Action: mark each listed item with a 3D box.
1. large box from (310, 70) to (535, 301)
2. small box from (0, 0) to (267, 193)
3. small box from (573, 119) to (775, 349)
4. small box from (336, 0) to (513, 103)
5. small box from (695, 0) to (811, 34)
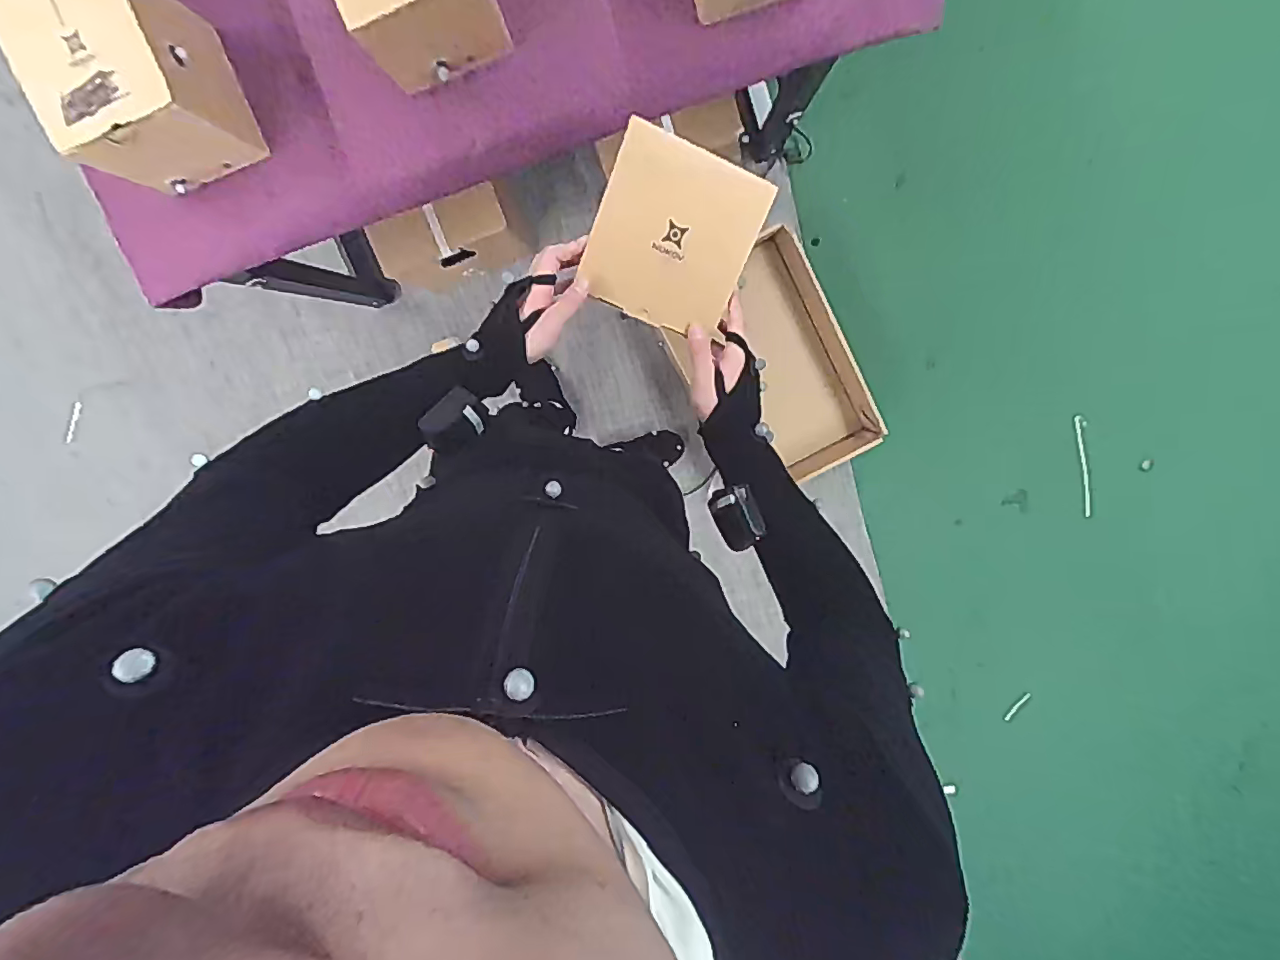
[{"bbox_3d":[-0.502,-0.708,1.339,0.320,0.320,0.408,-20,100,4],"label":"large box"},{"bbox_3d":[-0.643,-0.502,0.707,0.168,0.176,0.179,-19,100,4],"label":"small box"},{"bbox_3d":[0.027,-0.276,0.636,0.168,0.176,0.179,20,108,-11],"label":"small box"},{"bbox_3d":[-0.280,-0.626,0.677,0.168,0.176,0.179,-19,101,5],"label":"small box"},{"bbox_3d":[0.139,-0.703,0.651,0.168,0.176,0.179,-15,99,6],"label":"small box"}]
